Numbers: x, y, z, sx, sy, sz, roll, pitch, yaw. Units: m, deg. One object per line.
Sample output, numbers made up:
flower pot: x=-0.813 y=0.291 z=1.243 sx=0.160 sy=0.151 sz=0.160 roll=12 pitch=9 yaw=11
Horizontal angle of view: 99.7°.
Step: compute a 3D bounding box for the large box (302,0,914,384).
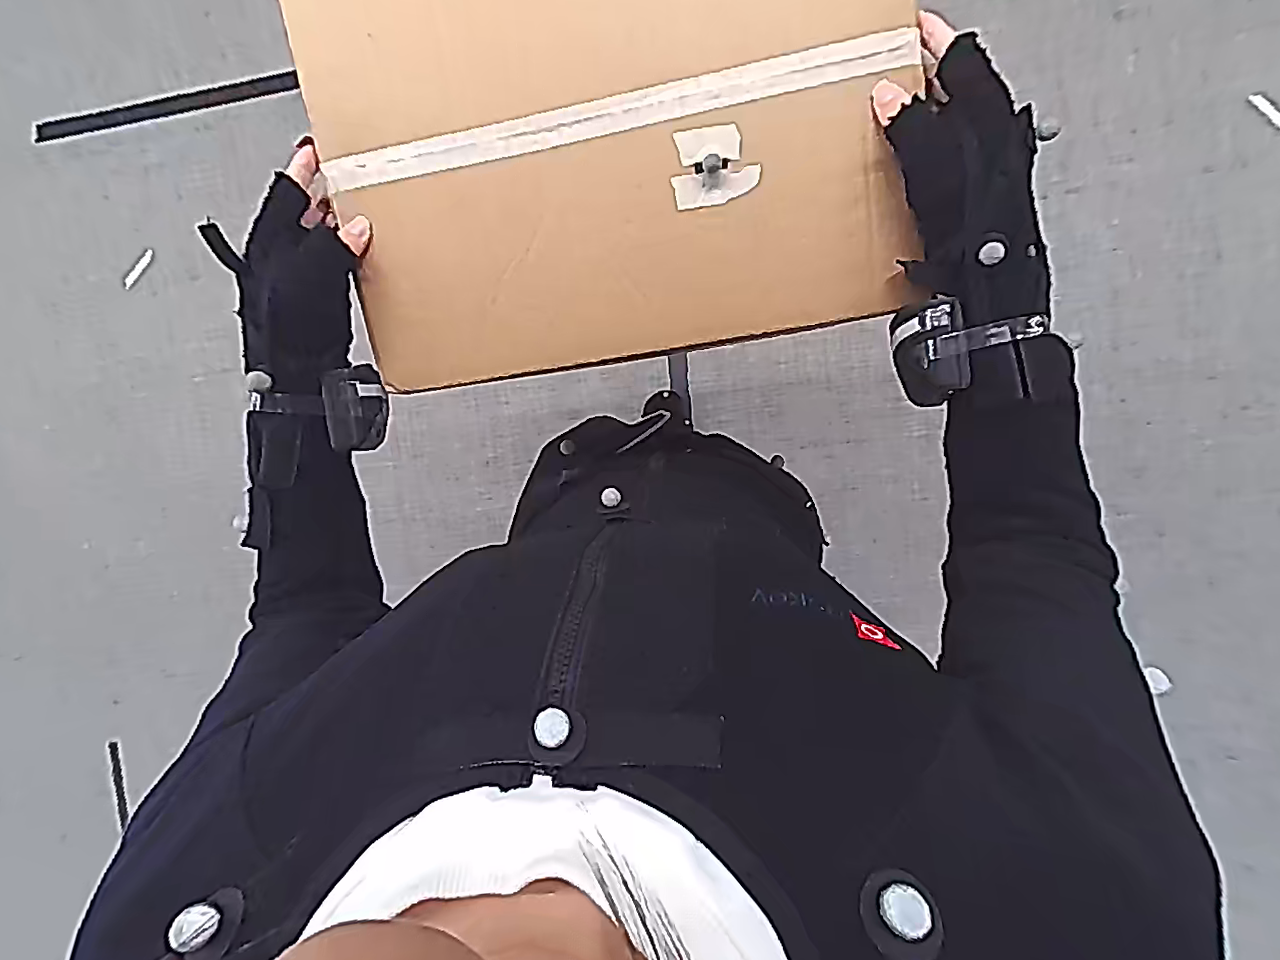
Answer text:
large box: x=-0.012 y=-0.286 z=0.524 sx=0.408 sy=0.320 sz=0.320 roll=-8 pitch=103 yaw=6
